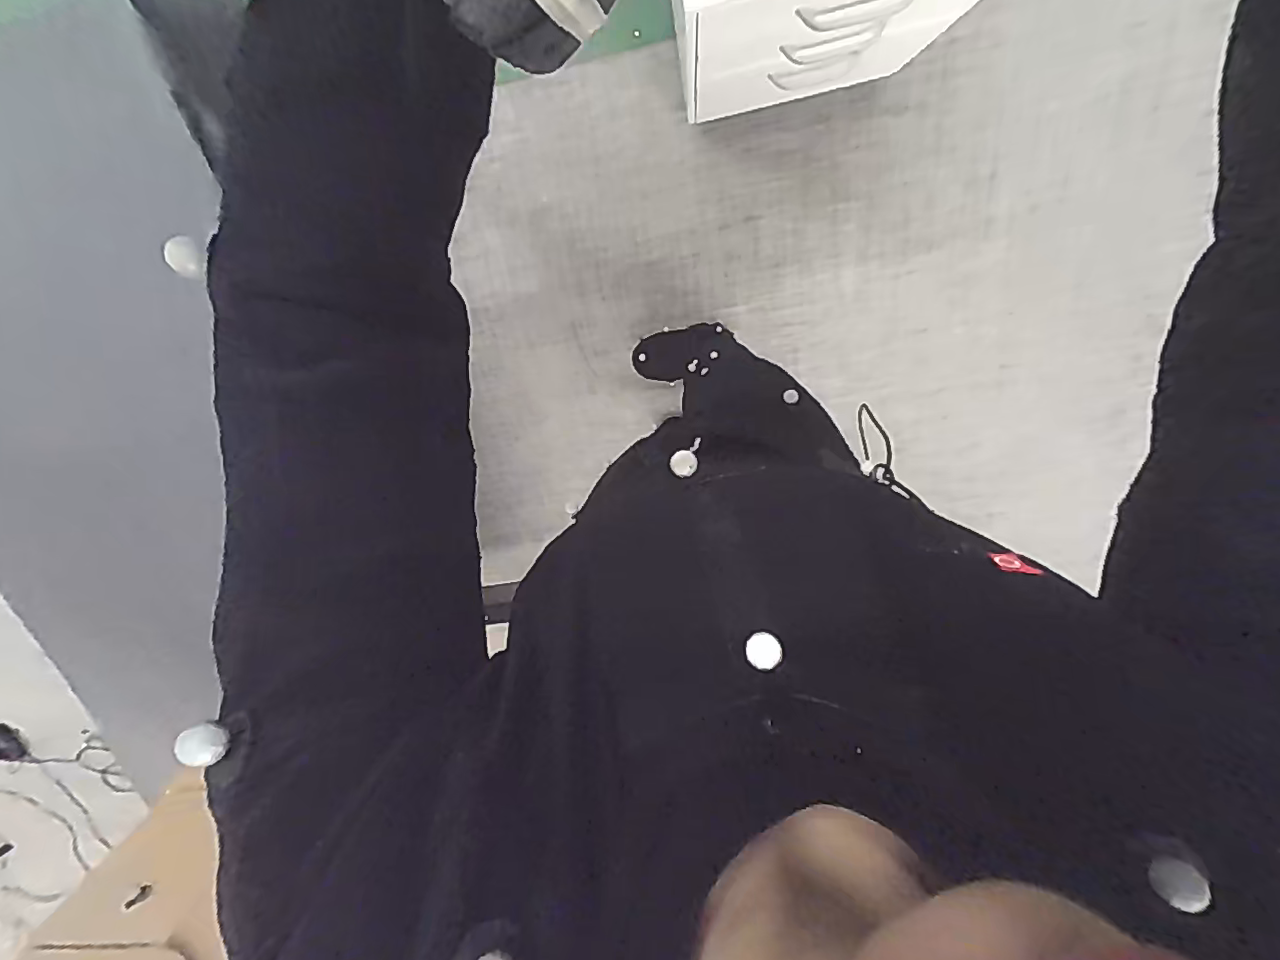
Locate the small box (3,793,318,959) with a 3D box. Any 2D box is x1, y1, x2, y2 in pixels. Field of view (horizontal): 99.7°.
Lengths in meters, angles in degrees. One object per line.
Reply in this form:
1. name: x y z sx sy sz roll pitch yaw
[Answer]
1. small box: -0.500 0.479 0.603 0.179 0.176 0.168 -9 111 9
